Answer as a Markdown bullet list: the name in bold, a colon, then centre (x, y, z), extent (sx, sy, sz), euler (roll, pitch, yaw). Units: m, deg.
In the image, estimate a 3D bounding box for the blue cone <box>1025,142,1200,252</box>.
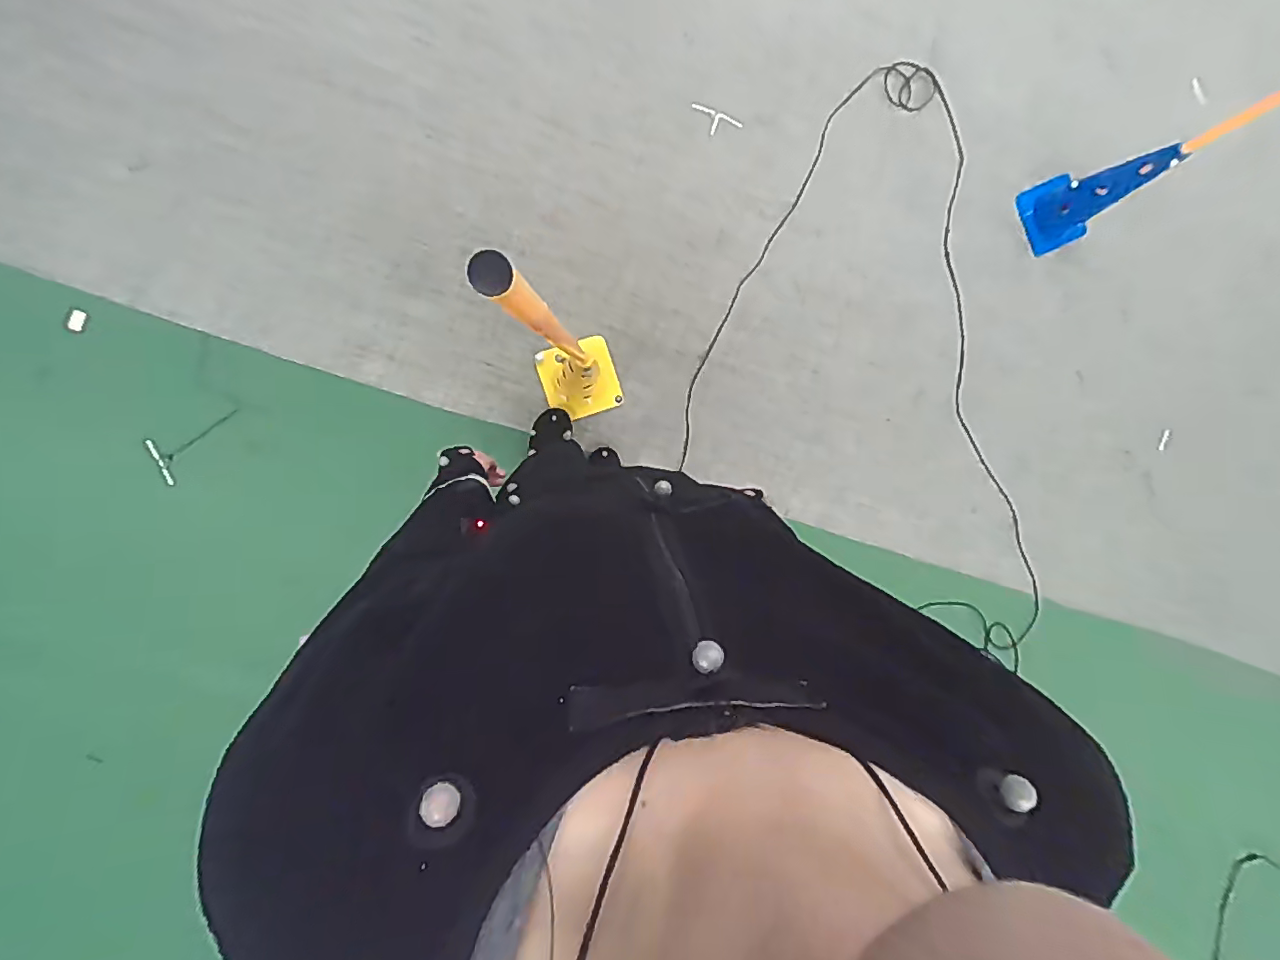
- **blue cone**: centre (1.281, -0.800, 1.464), extent (0.193, 0.380, 0.192), euler (-27, 96, -8)
